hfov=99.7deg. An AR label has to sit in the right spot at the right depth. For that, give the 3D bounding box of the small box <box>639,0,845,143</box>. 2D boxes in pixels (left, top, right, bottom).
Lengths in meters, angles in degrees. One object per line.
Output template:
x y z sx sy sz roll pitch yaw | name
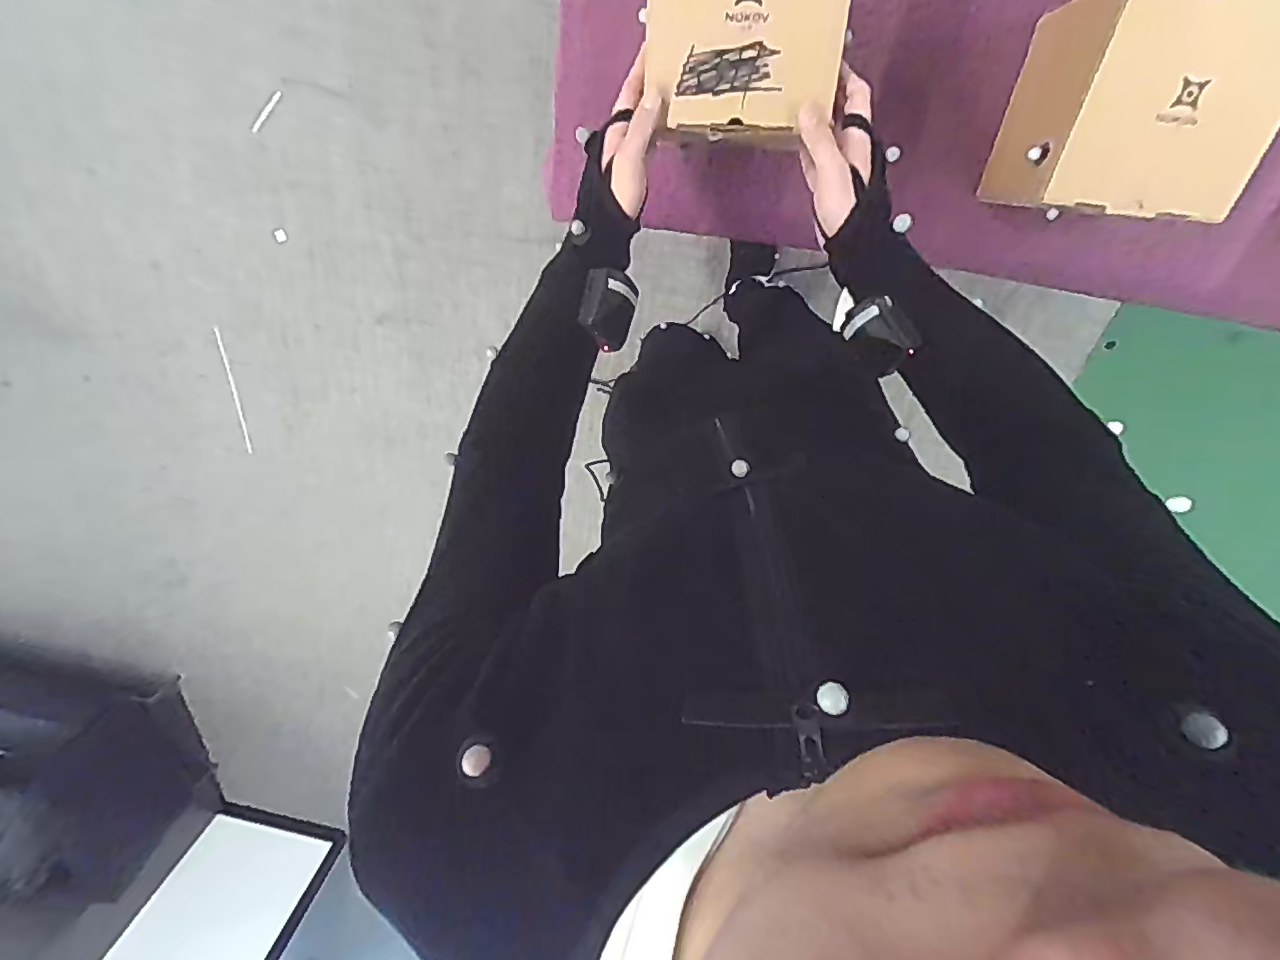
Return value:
0.094 -0.429 0.510 0.168 0.176 0.179 5 116 4 | small box

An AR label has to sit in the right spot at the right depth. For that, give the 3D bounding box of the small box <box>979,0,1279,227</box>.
0.478 -0.364 0.539 0.168 0.176 0.179 9 121 4 | small box
